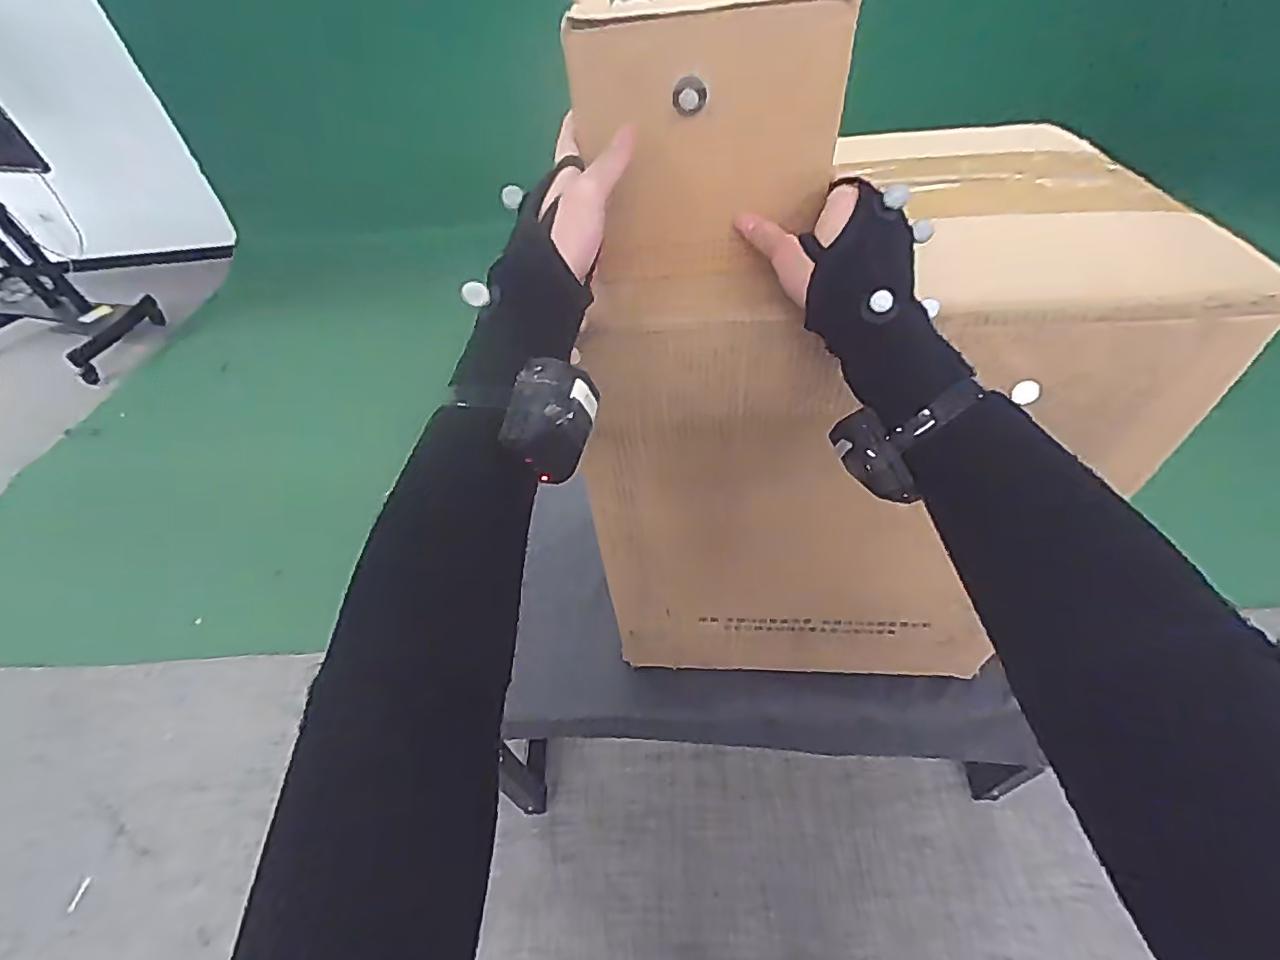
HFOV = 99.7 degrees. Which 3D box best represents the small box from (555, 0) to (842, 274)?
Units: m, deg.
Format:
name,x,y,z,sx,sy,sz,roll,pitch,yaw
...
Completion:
name,x,y,z,sx,sy,sz,roll,pitch,yaw
small box,0.047,-0.282,0.432,0.179,0.176,0.168,0,52,7
